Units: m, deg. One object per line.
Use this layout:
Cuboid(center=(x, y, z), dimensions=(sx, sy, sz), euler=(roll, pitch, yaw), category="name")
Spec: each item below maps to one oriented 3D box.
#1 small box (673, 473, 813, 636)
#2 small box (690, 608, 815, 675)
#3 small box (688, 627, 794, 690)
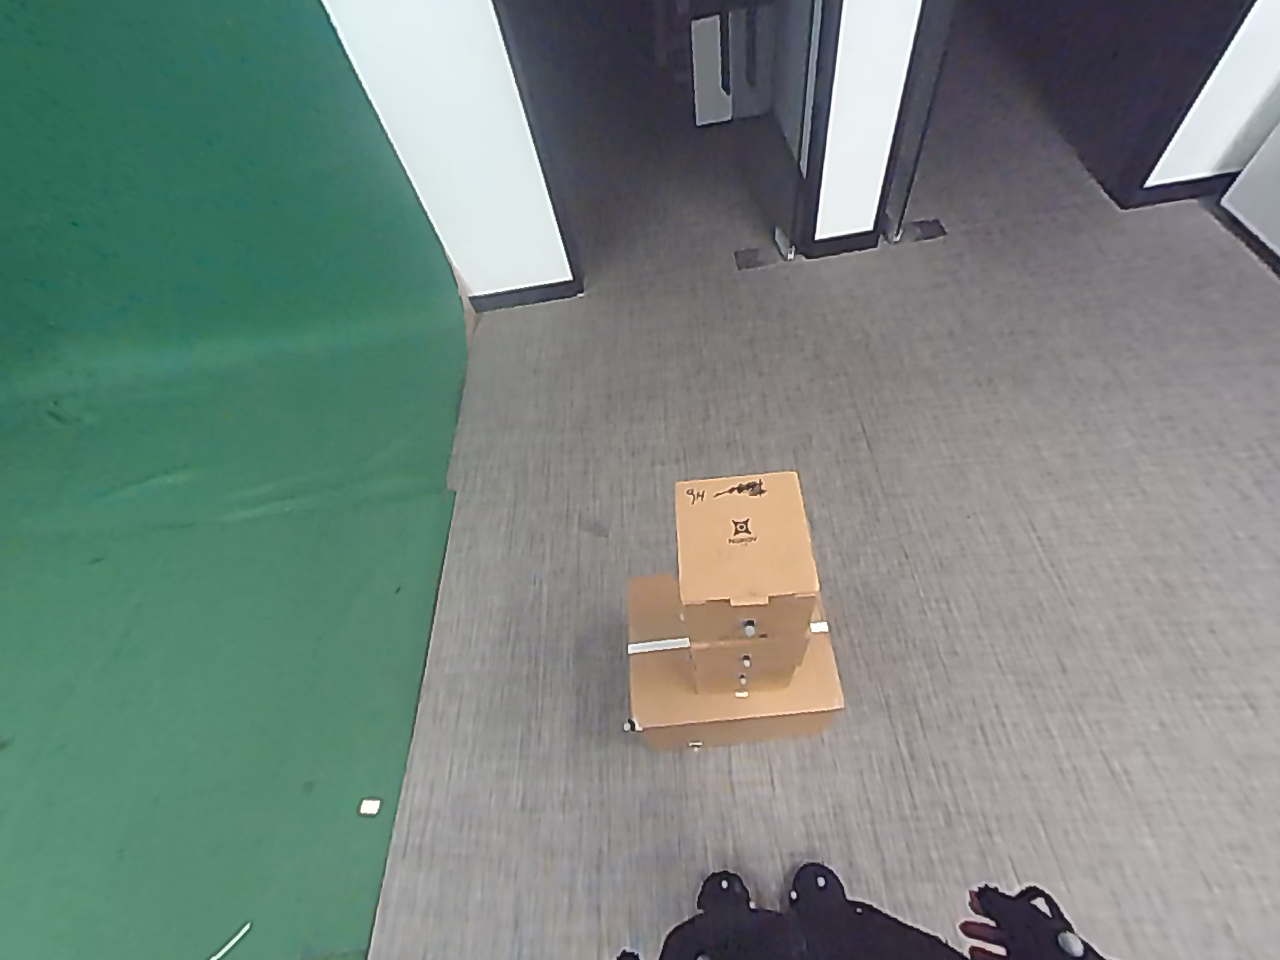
Cuboid(center=(0.139, 0.112, 0.751), dimensions=(0.168, 0.176, 0.179), euler=(-5, 57, 8), category="small box")
Cuboid(center=(0.166, 0.207, 0.881), dimensions=(0.179, 0.176, 0.168), euler=(-10, 57, 3), category="small box")
Cuboid(center=(0.184, 0.292, 1.021), dimensions=(0.179, 0.176, 0.168), euler=(-6, 57, 5), category="small box")
